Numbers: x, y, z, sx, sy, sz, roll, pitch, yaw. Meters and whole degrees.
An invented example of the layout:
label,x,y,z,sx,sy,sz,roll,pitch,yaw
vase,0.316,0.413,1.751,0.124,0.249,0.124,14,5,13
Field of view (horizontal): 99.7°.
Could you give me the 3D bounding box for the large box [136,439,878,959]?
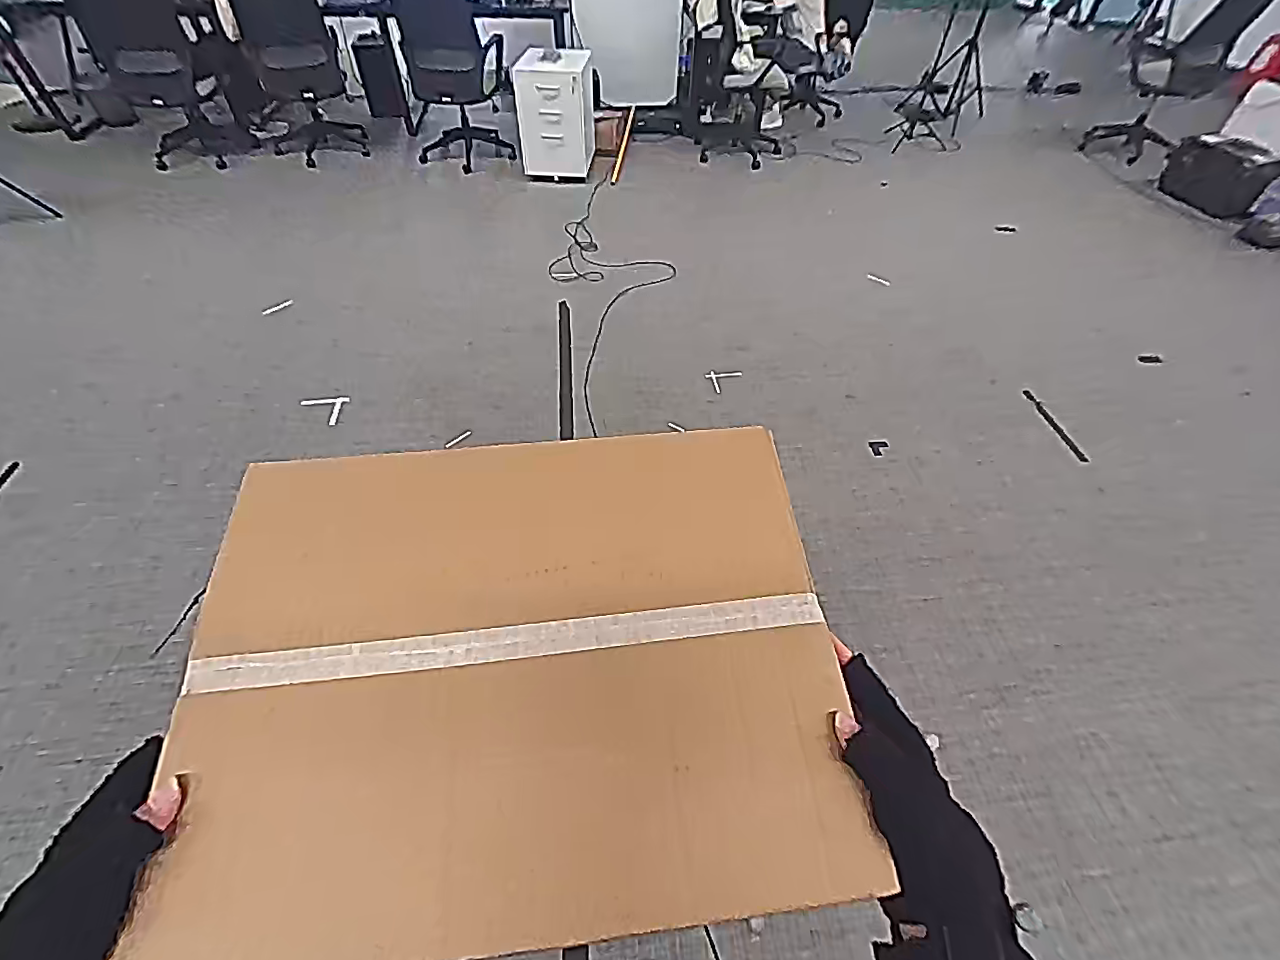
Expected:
label,x,y,z,sx,sy,sz,roll,pitch,yaw
large box,-0.082,0.190,0.486,0.408,0.320,0.320,-5,59,-5
